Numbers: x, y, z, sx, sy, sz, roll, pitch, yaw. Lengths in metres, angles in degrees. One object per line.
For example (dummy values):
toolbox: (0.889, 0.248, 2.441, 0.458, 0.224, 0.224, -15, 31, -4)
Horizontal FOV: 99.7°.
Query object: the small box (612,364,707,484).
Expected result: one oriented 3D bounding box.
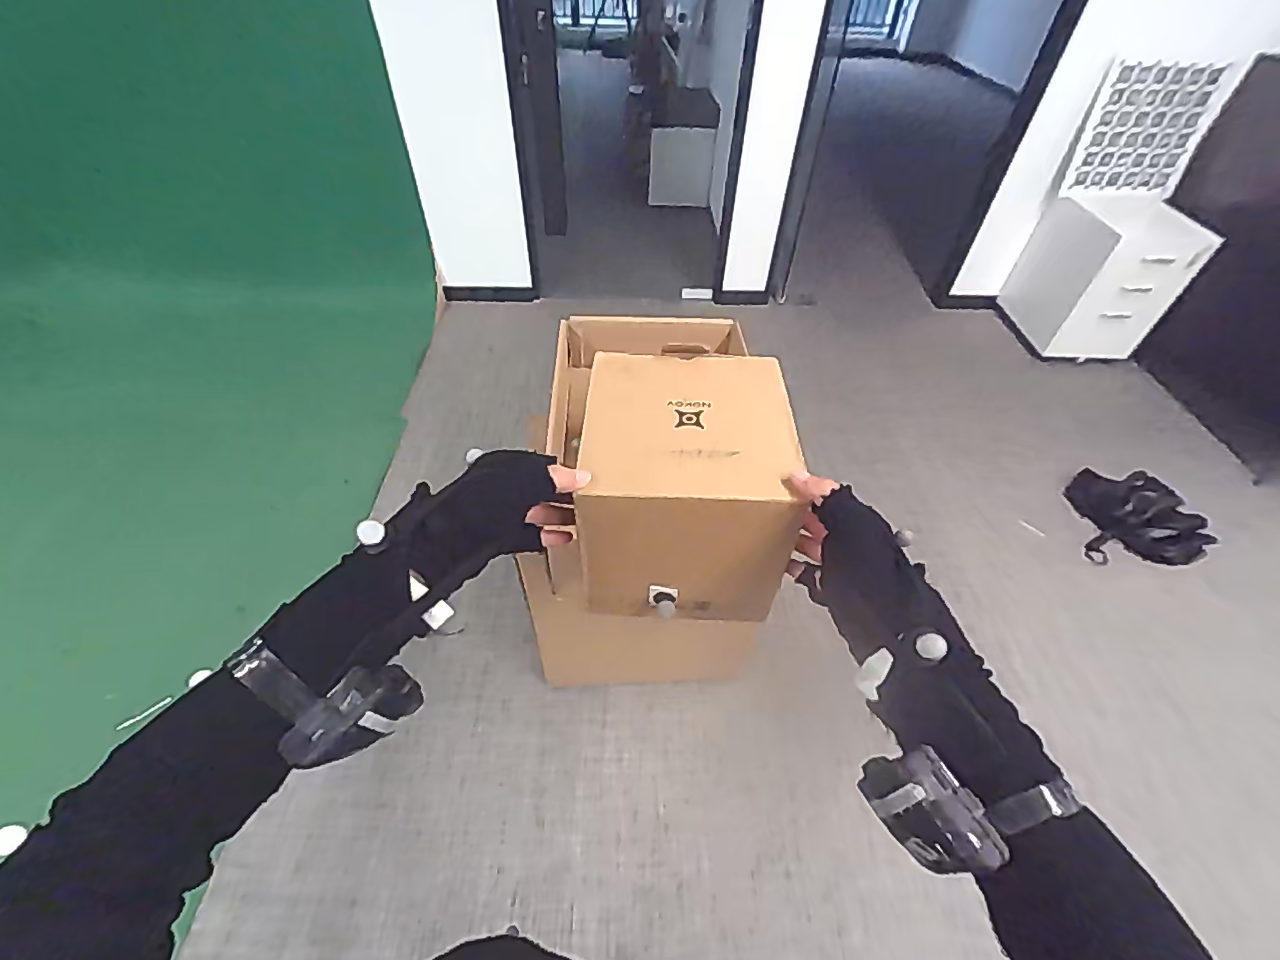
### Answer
small box: (0.031, -0.106, 1.048, 0.168, 0.176, 0.179, 0, 47, -4)
